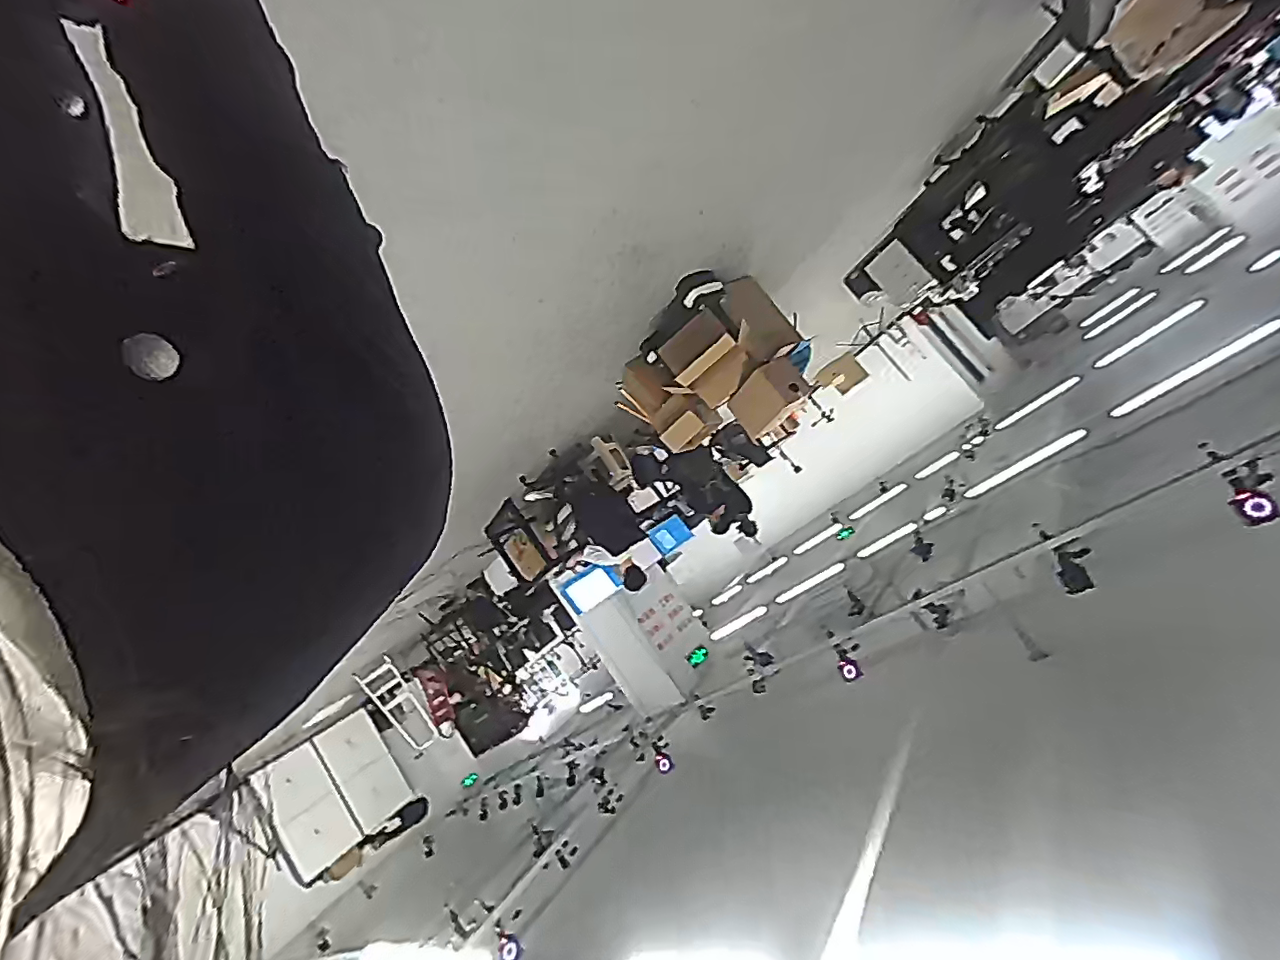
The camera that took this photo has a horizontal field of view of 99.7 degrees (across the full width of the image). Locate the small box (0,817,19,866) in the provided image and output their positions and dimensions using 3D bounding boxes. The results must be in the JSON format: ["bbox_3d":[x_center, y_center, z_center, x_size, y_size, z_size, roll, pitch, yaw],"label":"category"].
[{"bbox_3d":[-1.658,0.887,1.291,0.179,0.176,0.168,-26,167,-47],"label":"small box"}]
